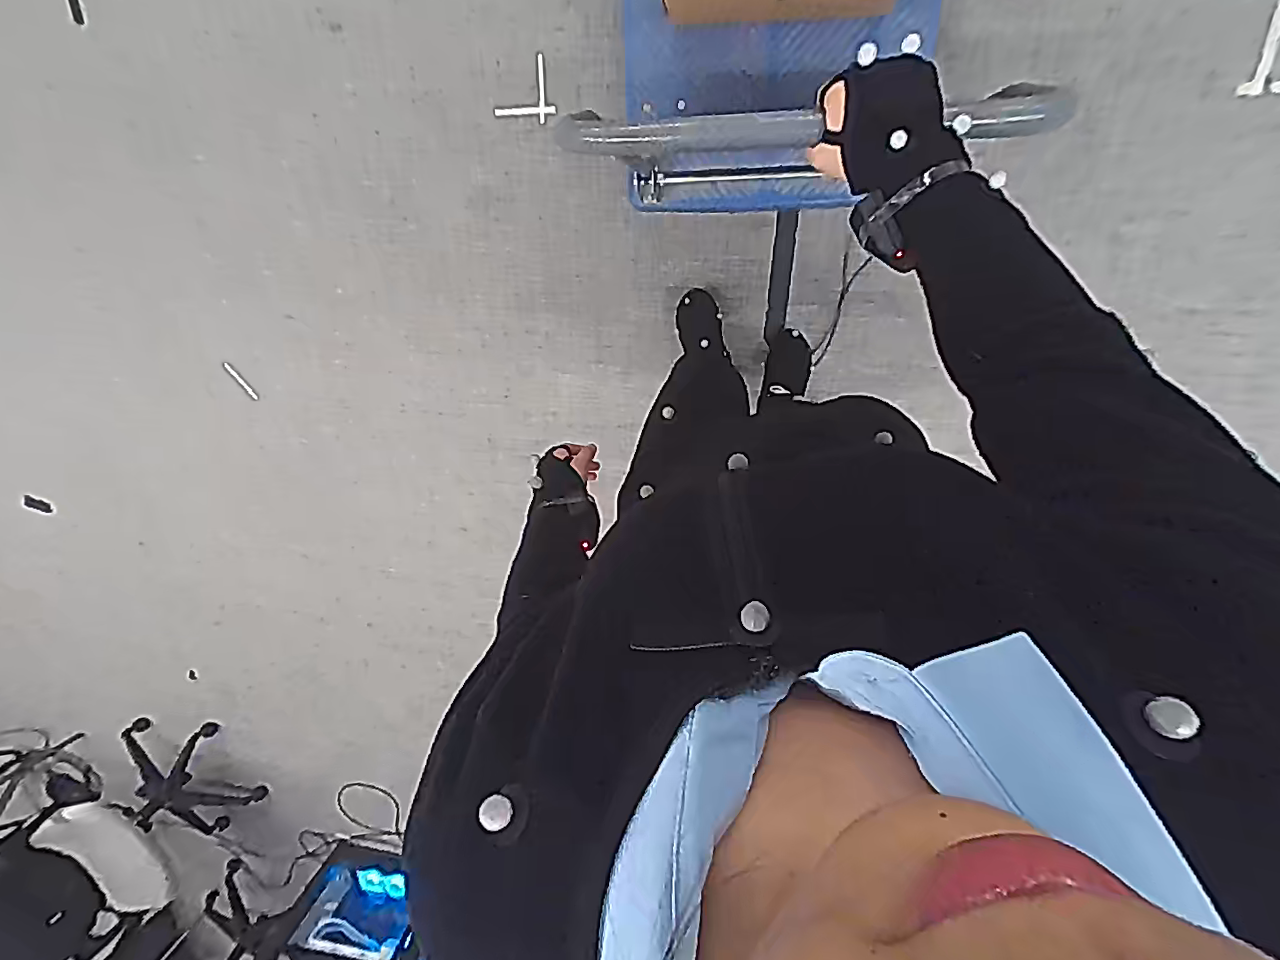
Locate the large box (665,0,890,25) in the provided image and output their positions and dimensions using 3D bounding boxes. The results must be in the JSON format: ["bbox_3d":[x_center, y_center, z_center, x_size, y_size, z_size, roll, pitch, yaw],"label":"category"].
[{"bbox_3d":[0.227,-0.949,0.812,0.408,0.320,0.320,4,110,11],"label":"large box"}]
